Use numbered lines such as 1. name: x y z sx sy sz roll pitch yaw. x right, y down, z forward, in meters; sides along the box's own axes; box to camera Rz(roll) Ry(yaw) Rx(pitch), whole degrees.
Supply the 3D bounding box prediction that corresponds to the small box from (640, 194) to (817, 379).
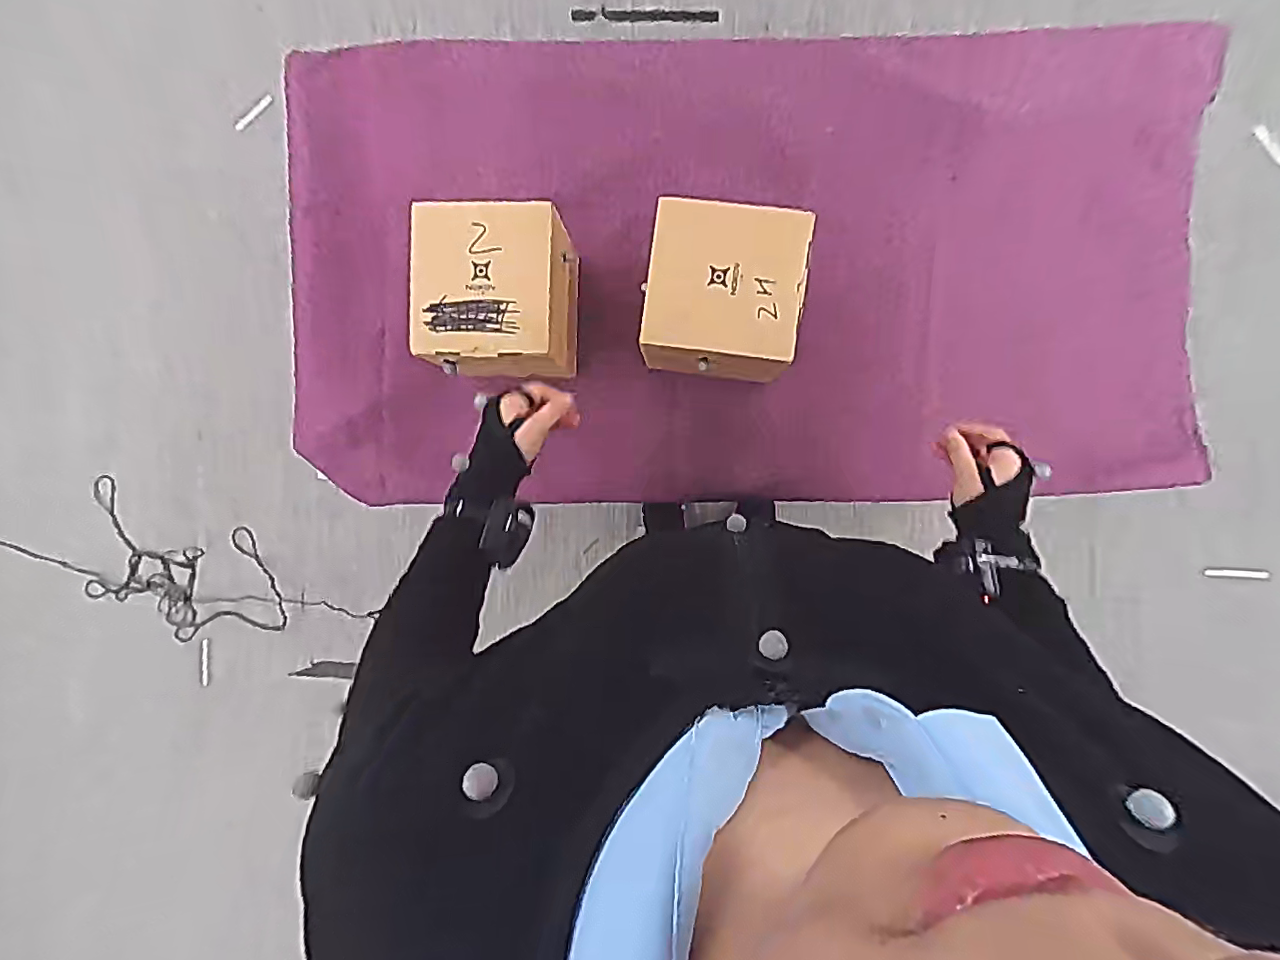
1. small box: 0.102 -0.227 0.676 0.179 0.176 0.168 8 93 3
